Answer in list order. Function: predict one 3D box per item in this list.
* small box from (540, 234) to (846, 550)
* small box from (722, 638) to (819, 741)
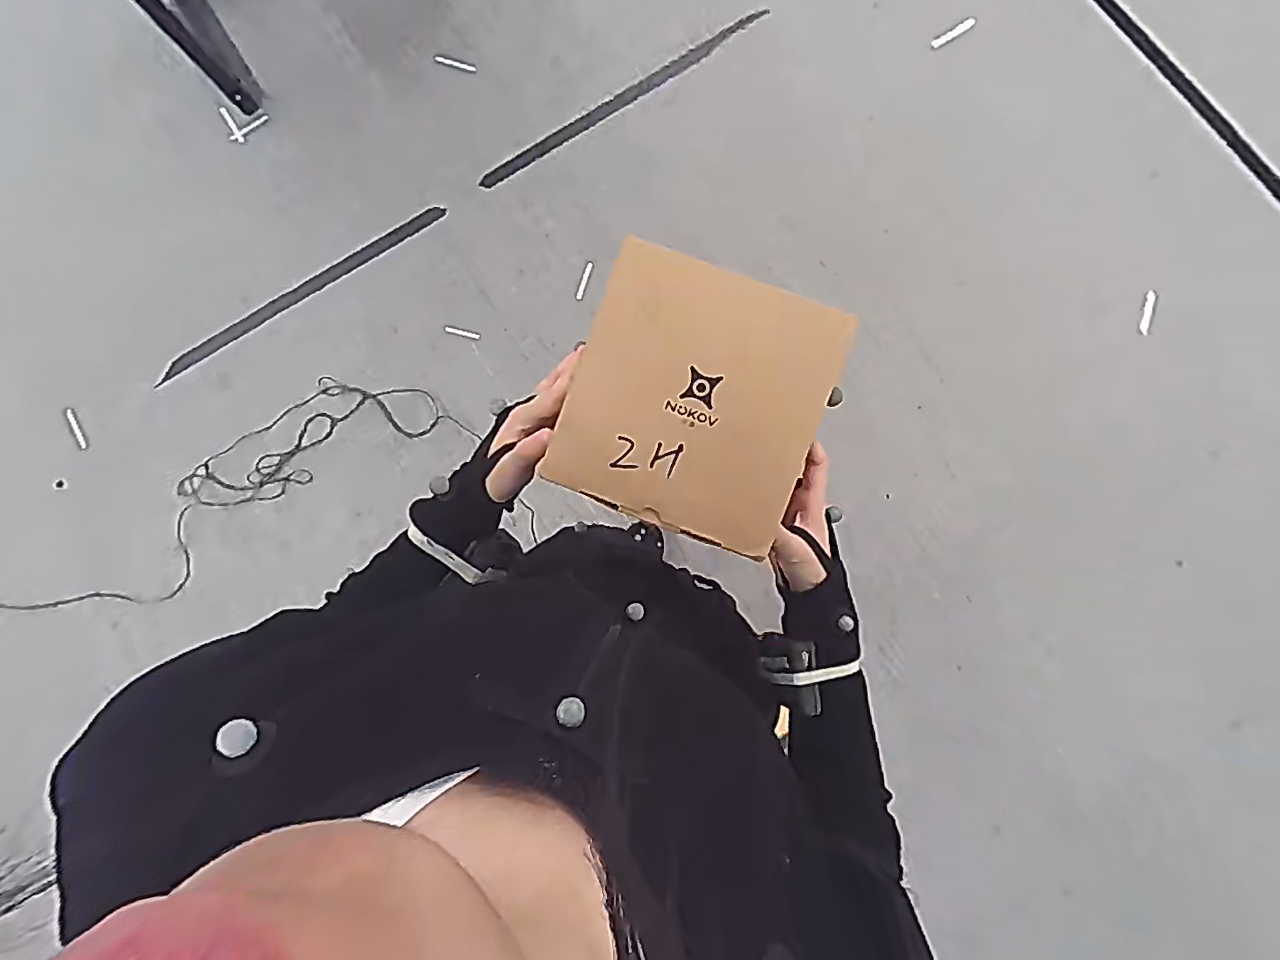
[{"bbox_3d":[0.038,-0.061,0.448,0.168,0.176,0.179,21,92,3],"label":"small box"},{"bbox_3d":[0.319,0.522,1.371,0.179,0.176,0.168,-27,82,-1],"label":"small box"}]
